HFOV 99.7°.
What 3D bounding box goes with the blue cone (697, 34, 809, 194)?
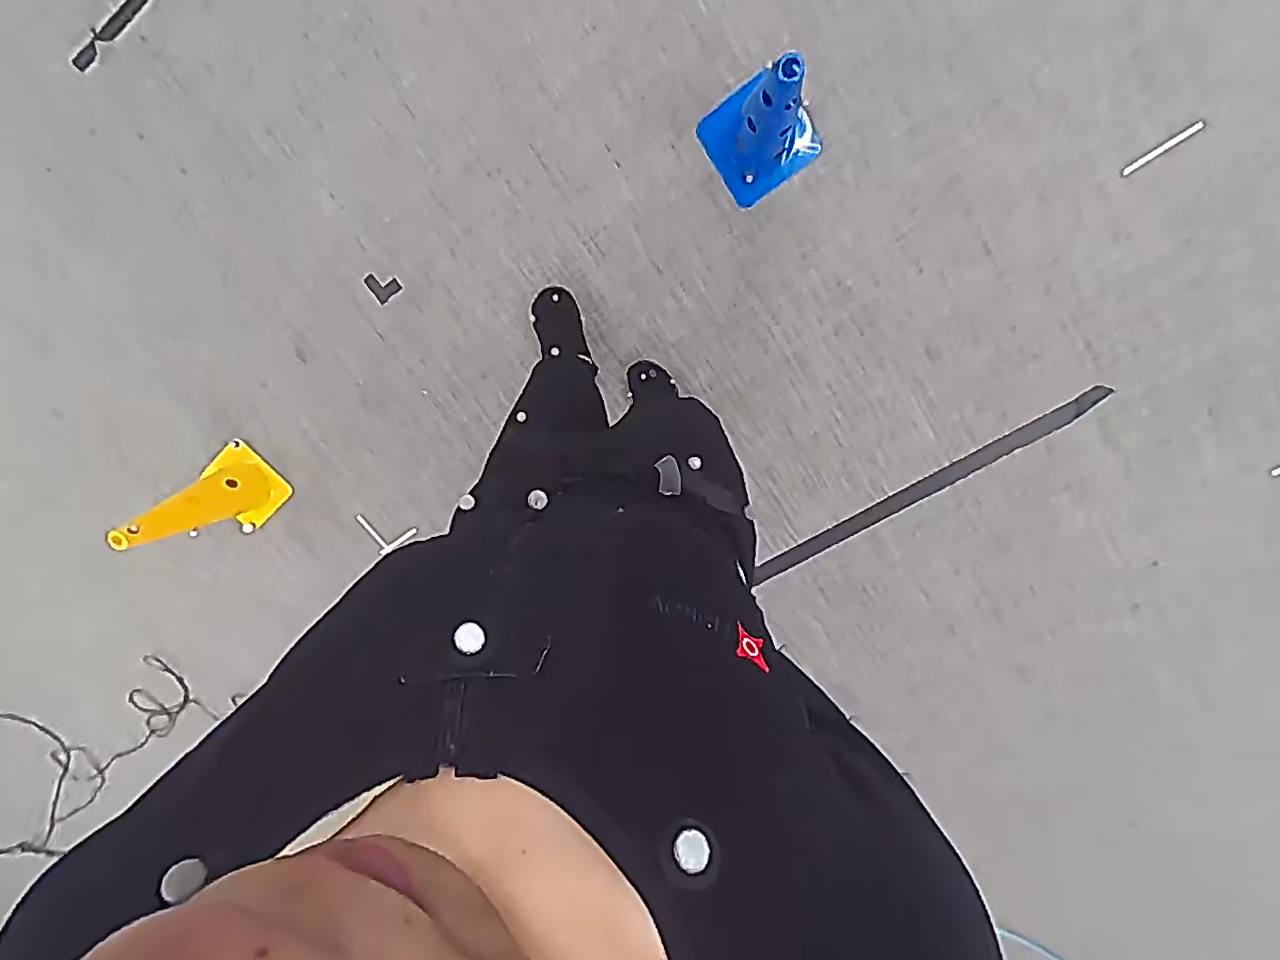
[{"bbox_3d":[0.220,-0.669,0.957,0.193,0.380,0.192,-32,102,14],"label":"blue cone"}]
